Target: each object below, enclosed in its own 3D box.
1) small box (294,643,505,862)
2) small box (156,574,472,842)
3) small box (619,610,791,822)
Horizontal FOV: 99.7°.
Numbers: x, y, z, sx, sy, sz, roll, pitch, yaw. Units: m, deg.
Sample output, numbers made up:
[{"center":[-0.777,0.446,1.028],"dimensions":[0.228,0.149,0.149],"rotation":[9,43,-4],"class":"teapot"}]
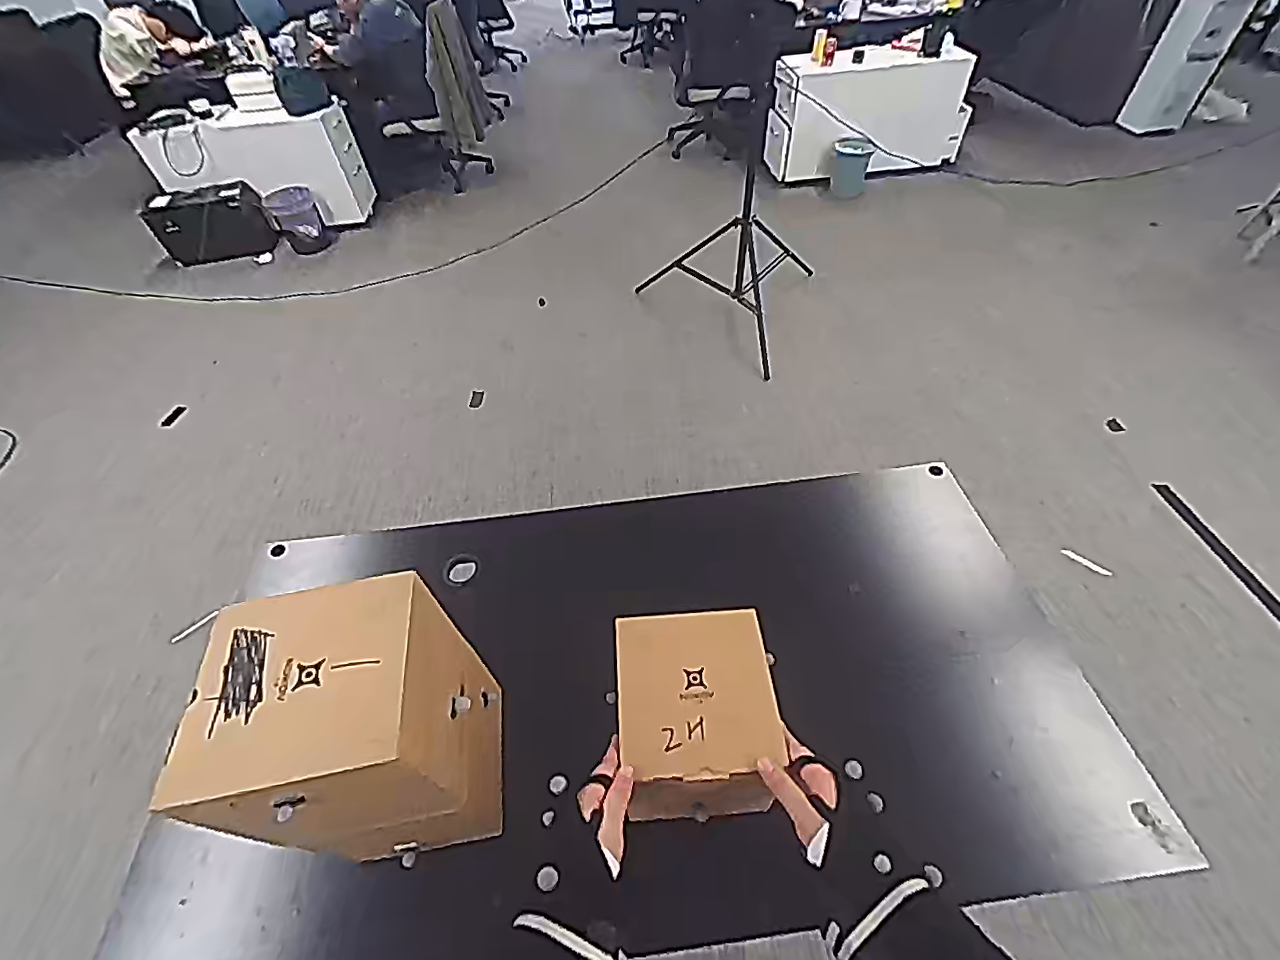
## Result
[{"center":[-0.259,0.318,0.628],"dimensions":[0.168,0.176,0.179],"rotation":[-11,51,-4],"class":"small box"},{"center":[-0.269,0.214,0.500],"dimensions":[0.179,0.176,0.168],"rotation":[-10,50,-5],"class":"small box"},{"center":[0.061,0.274,0.629],"dimensions":[0.168,0.176,0.179],"rotation":[-4,47,-1],"class":"small box"}]
